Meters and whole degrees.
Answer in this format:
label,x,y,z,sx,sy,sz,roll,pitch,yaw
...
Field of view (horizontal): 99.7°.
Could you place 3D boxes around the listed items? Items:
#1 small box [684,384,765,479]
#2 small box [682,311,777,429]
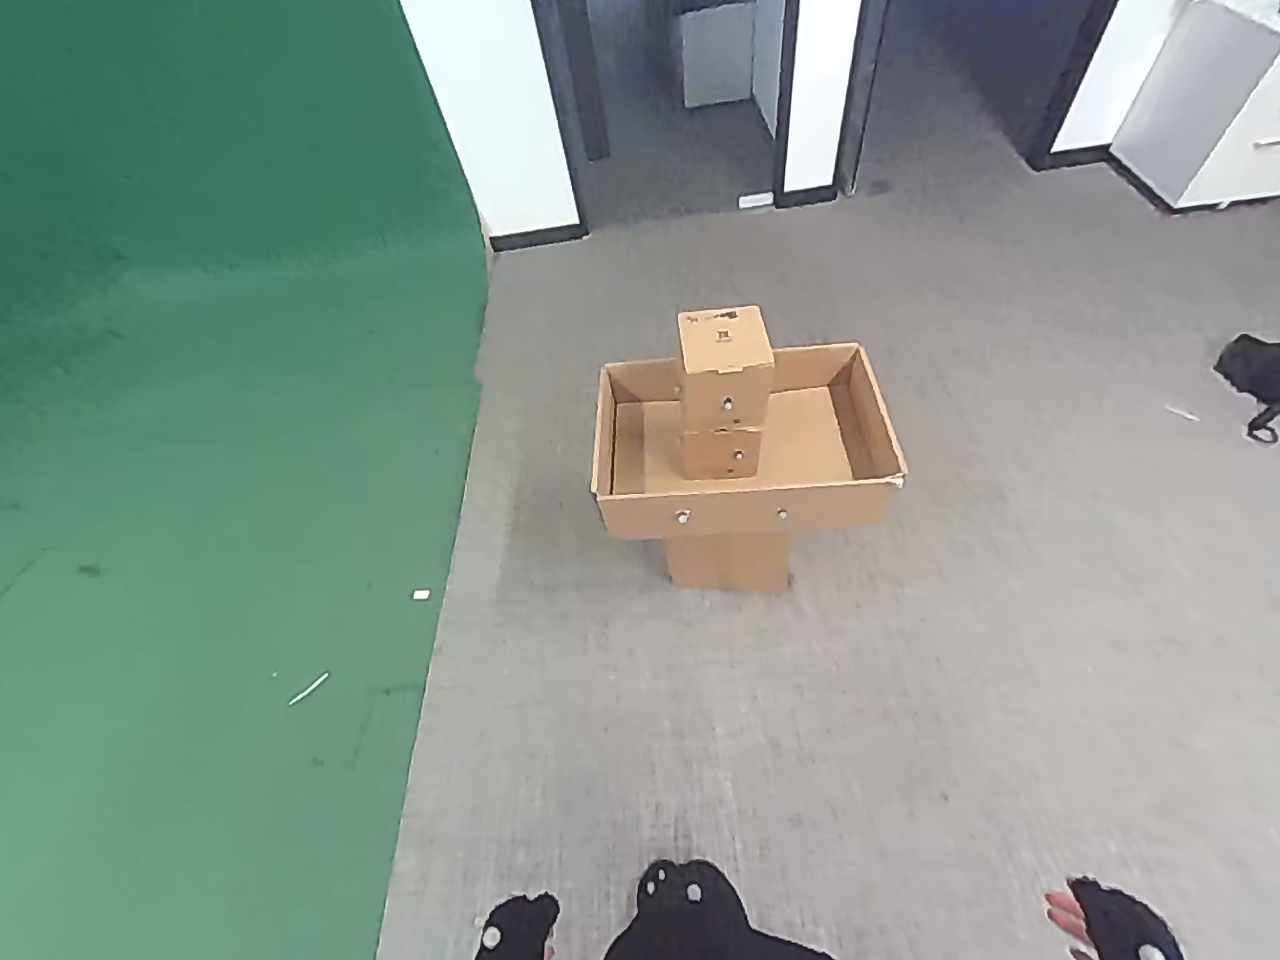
label,x,y,z,sx,sy,sz,roll,pitch,yaw
small box,0.188,-0.113,1.233,0.168,0.176,0.179,-3,52,4
small box,0.176,-0.216,1.106,0.168,0.176,0.179,-4,54,2
